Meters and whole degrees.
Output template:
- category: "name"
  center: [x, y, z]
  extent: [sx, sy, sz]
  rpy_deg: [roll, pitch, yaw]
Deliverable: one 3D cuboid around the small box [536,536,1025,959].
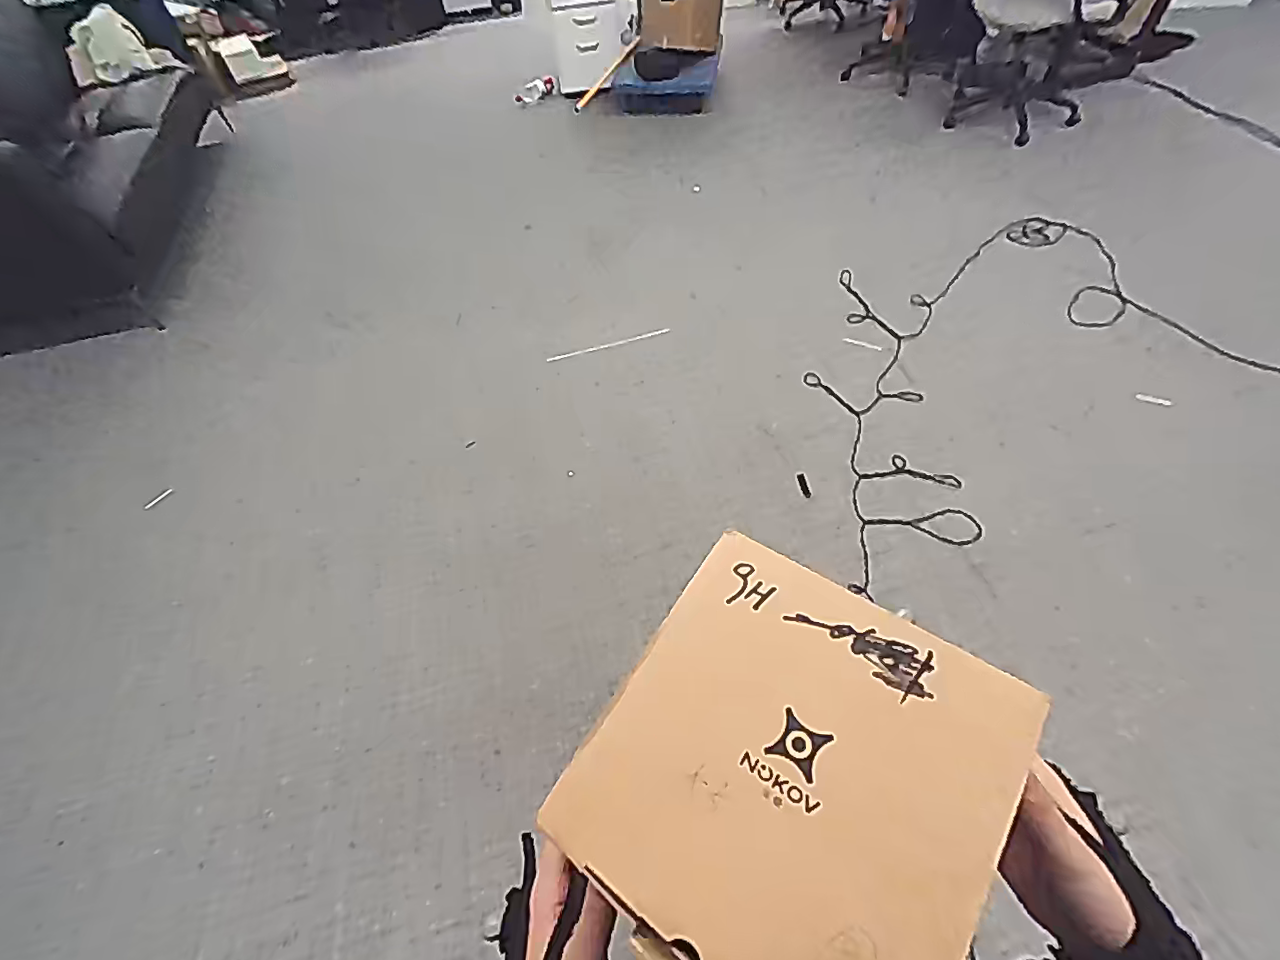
- category: "small box"
  center: [0.076, 0.170, 0.317]
  extent: [0.168, 0.176, 0.179]
  rpy_deg: [27, 68, 24]
